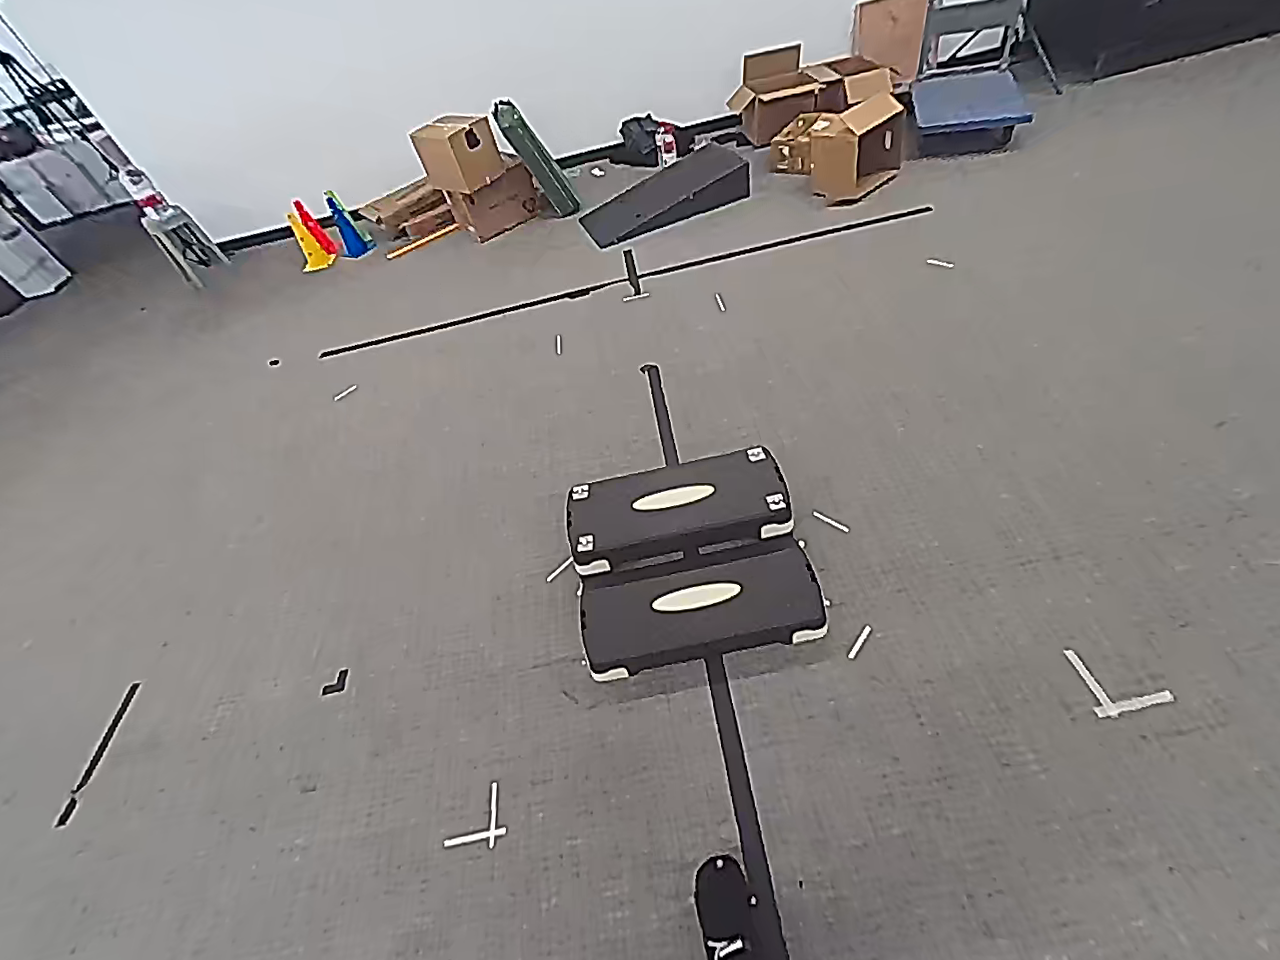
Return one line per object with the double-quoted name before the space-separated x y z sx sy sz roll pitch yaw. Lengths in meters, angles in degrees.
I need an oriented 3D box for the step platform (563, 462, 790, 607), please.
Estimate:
"step platform" 0.106 0.161 1.674 0.684 0.204 0.286 -13 48 1
